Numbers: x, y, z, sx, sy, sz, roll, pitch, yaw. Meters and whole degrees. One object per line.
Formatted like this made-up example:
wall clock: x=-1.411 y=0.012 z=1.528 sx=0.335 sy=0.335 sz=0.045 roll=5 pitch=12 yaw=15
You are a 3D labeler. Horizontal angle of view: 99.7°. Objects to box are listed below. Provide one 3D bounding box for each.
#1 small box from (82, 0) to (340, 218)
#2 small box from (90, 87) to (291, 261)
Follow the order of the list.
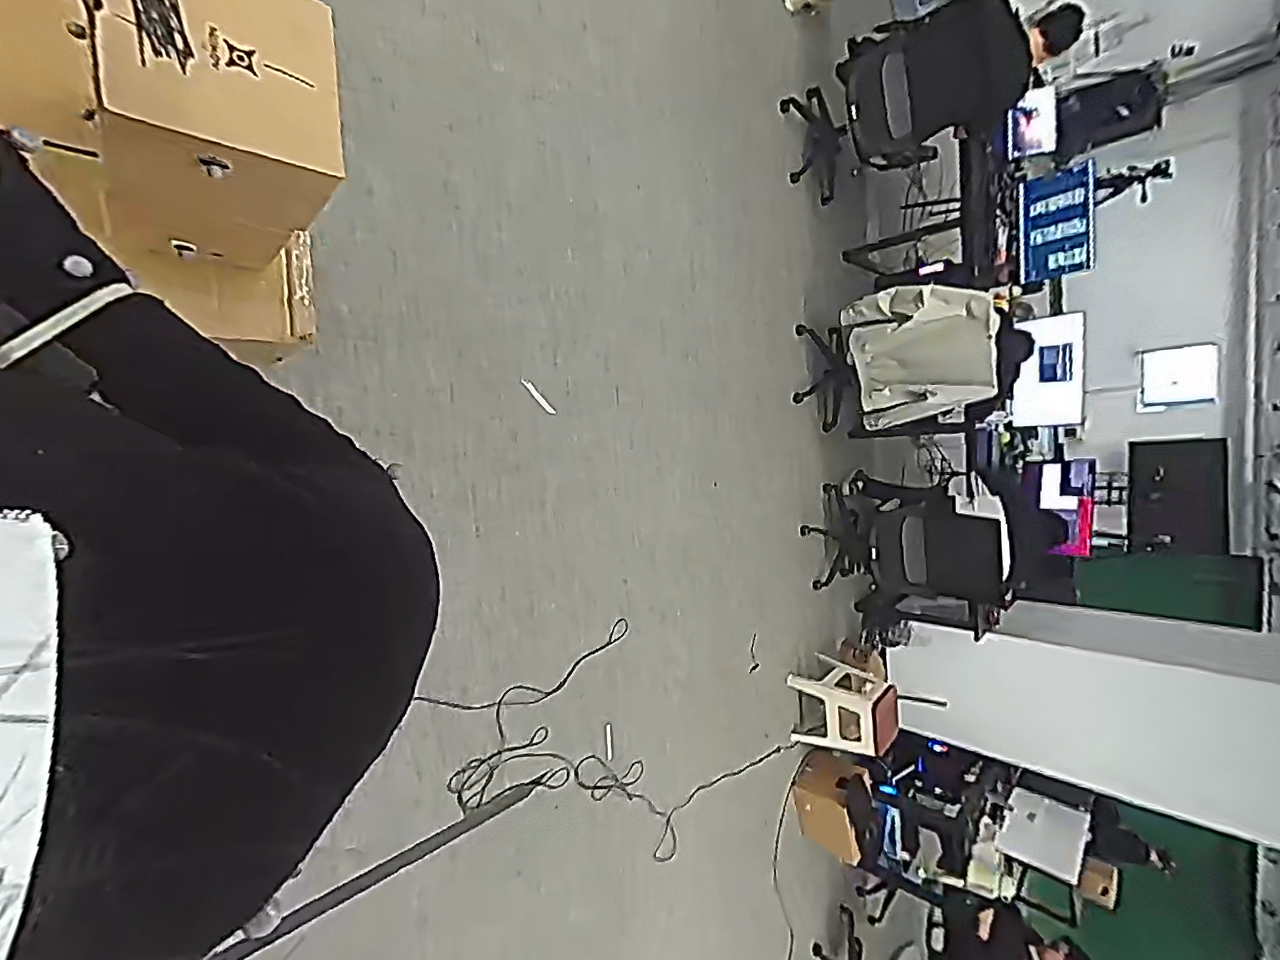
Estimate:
small box: x=-0.418 y=-0.381 z=0.530 sx=0.179 sy=0.176 sz=0.168 roll=-6 pitch=95 yaw=-44
small box: x=-0.536 y=-0.385 z=0.646 sx=0.168 sy=0.176 sz=0.179 roll=-6 pitch=96 yaw=-43
